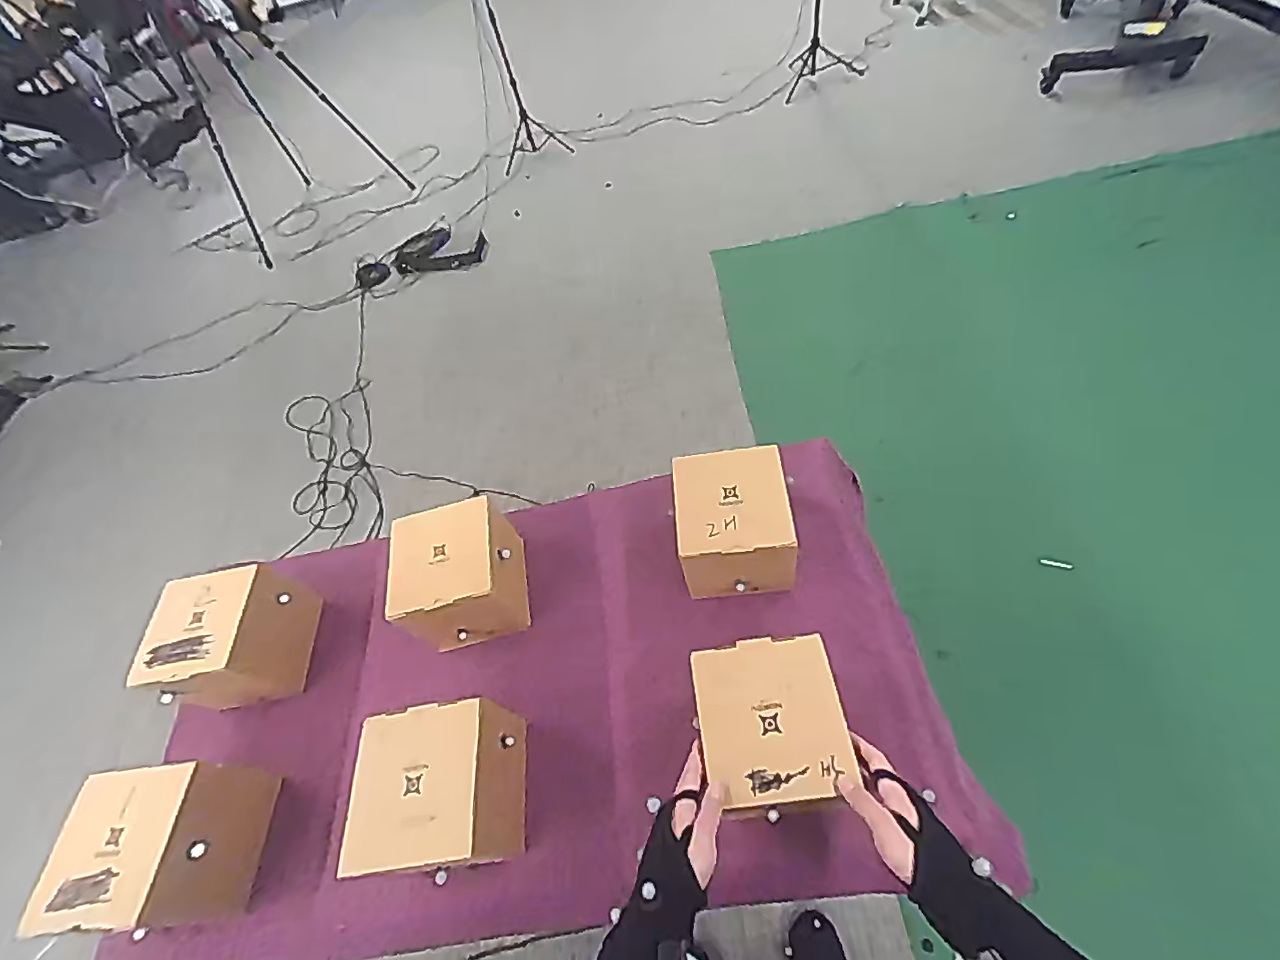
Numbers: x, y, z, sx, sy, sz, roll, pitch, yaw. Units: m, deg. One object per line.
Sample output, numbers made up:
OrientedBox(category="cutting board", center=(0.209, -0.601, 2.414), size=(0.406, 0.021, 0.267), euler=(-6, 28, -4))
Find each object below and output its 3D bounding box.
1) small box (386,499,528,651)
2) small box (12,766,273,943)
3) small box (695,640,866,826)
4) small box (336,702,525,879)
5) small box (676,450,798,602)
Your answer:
OrientedBox(category="small box", center=(-0.294, 0.162, 0.898), size=(0.168, 0.176, 0.179), euler=(-15, 56, 1))
OrientedBox(category="small box", center=(-0.649, 0.504, 0.737), size=(0.168, 0.176, 0.179), euler=(-9, 53, 6))
OrientedBox(category="small box", center=(0.167, 0.325, 0.687), size=(0.168, 0.176, 0.179), euler=(-10, 53, 6))
OrientedBox(category="small box", center=(-0.260, 0.415, 0.718), size=(0.168, 0.176, 0.179), euler=(-11, 54, 5))
OrientedBox(category="small box", center=(0.149, 0.077, 0.858), size=(0.168, 0.176, 0.179), euler=(-7, 56, 9))
